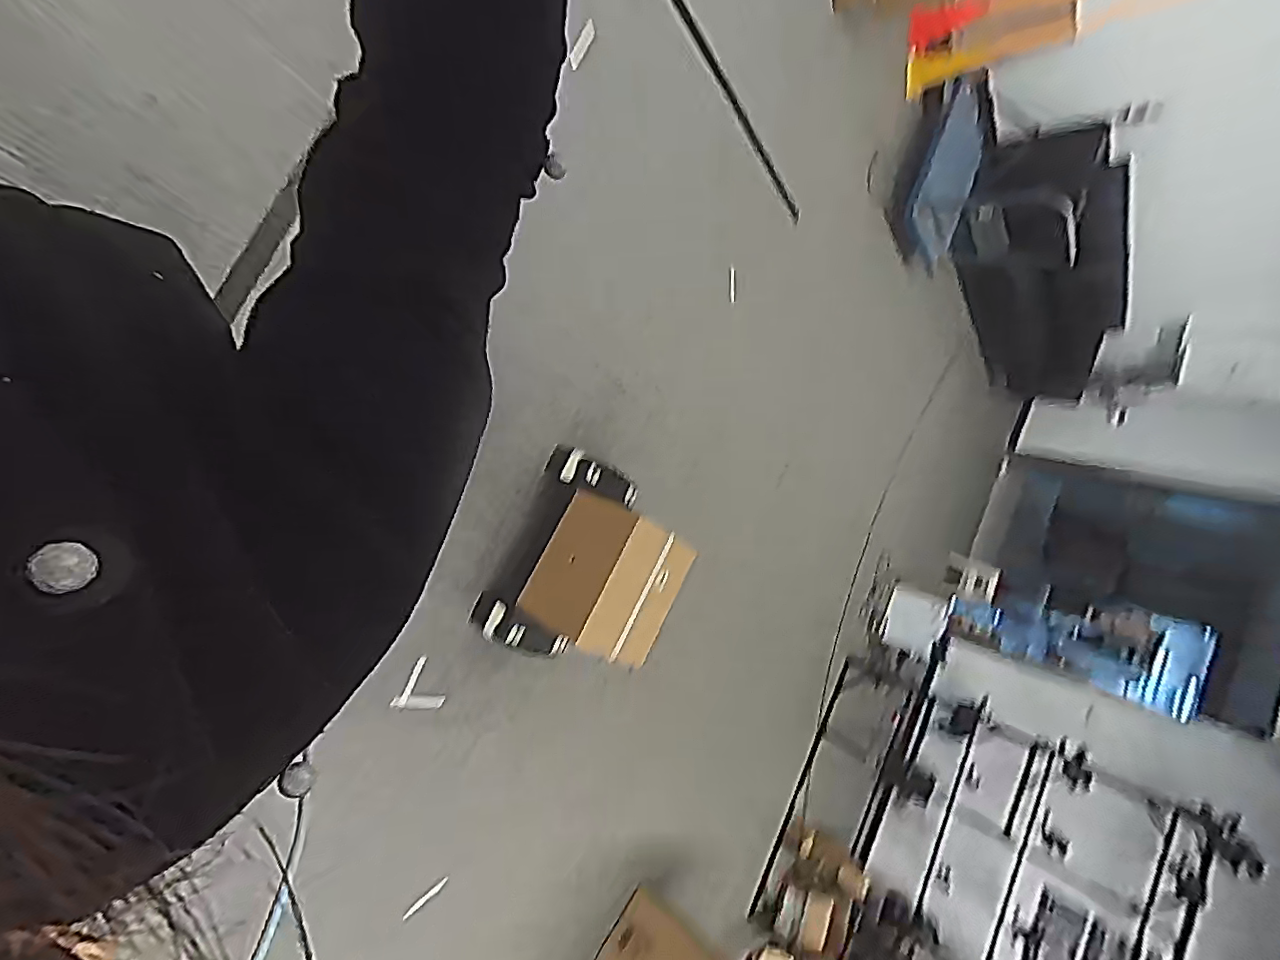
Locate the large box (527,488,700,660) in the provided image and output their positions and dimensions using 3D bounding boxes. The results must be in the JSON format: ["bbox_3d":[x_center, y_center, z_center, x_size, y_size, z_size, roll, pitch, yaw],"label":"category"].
[{"bbox_3d":[-0.082,0.287,1.679,0.320,0.320,0.408,36,76,-44],"label":"large box"}]

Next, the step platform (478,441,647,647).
[{"bbox_3d":[-0.243,0.215,1.842,0.286,0.204,0.684,39,74,-43],"label":"step platform"}]
